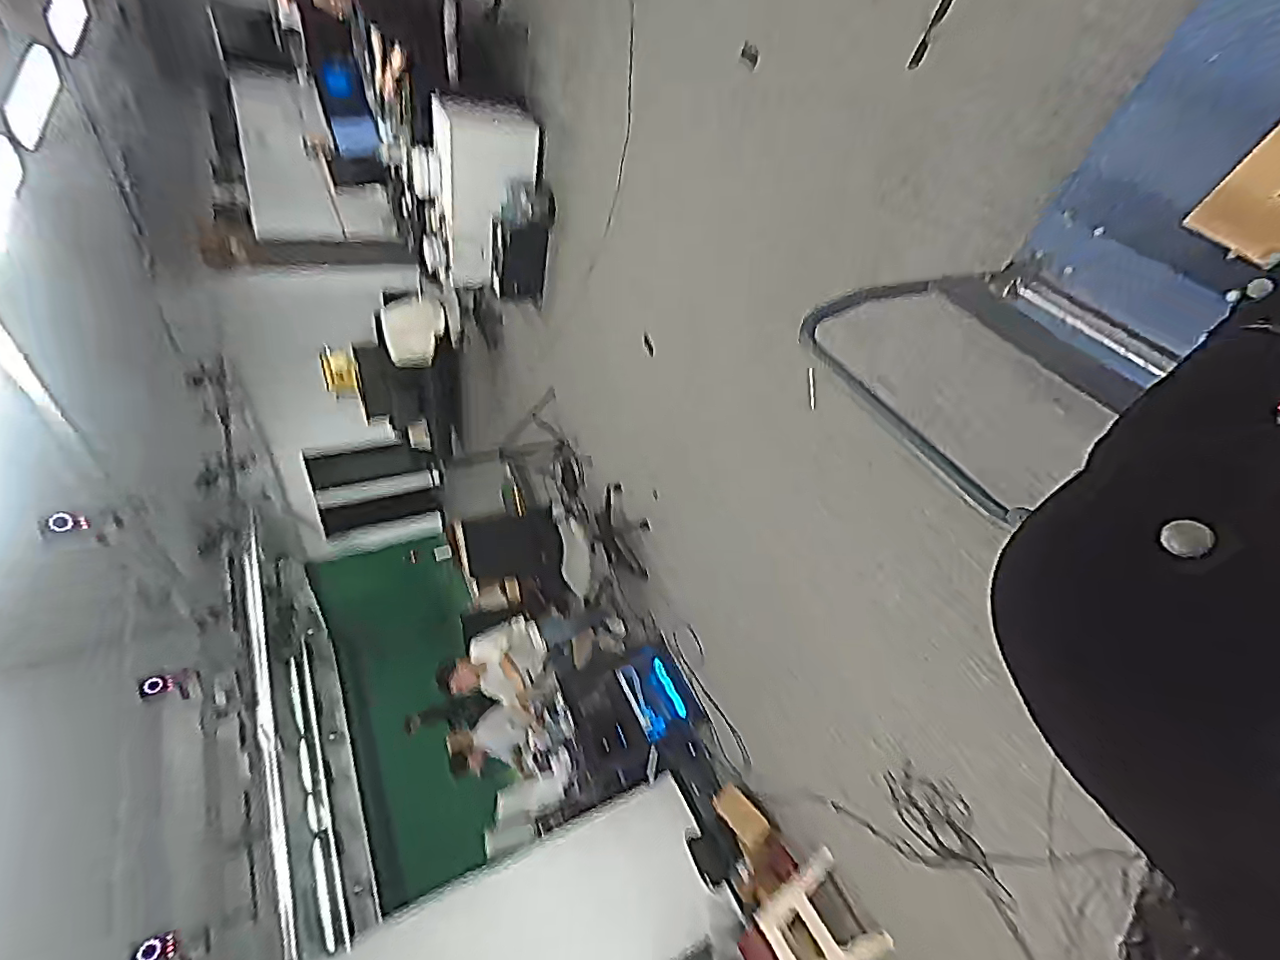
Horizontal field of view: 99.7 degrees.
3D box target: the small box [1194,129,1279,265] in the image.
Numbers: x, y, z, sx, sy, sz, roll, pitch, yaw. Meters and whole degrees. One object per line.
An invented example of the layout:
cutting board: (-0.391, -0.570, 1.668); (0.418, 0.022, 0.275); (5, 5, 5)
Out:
small box: (0.965, -0.402, 0.757); (0.179, 0.176, 0.168); (58, 148, 30)
